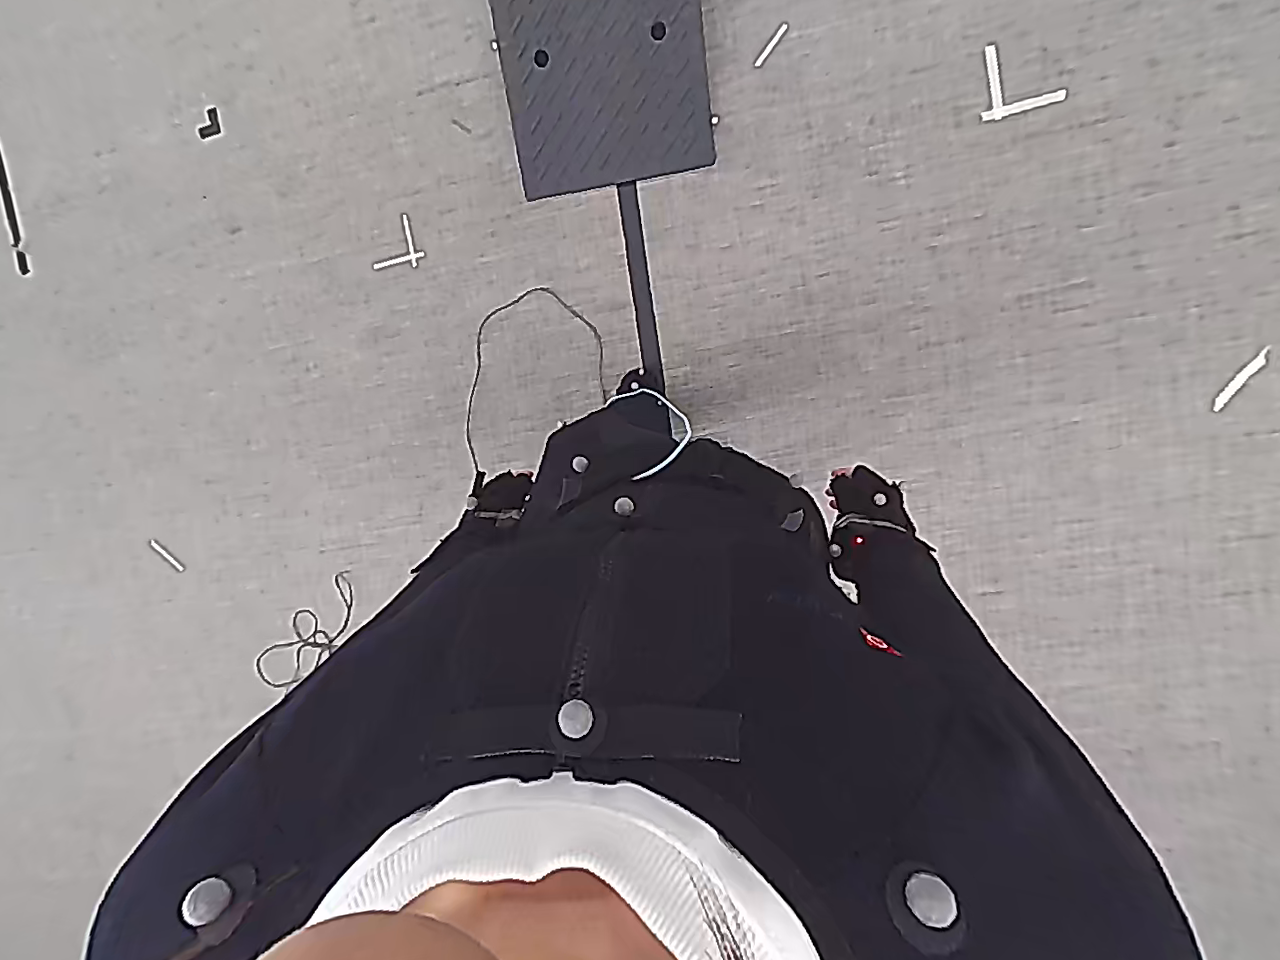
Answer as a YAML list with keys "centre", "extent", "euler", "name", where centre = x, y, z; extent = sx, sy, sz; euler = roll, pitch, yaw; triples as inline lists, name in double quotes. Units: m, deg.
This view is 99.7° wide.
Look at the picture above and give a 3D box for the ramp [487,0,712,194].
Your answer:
- centre: [-0.129, -1.231, 1.212]
  extent: [0.509, 0.206, 0.991]
  euler: [-8, 97, 8]
  name: "ramp"
